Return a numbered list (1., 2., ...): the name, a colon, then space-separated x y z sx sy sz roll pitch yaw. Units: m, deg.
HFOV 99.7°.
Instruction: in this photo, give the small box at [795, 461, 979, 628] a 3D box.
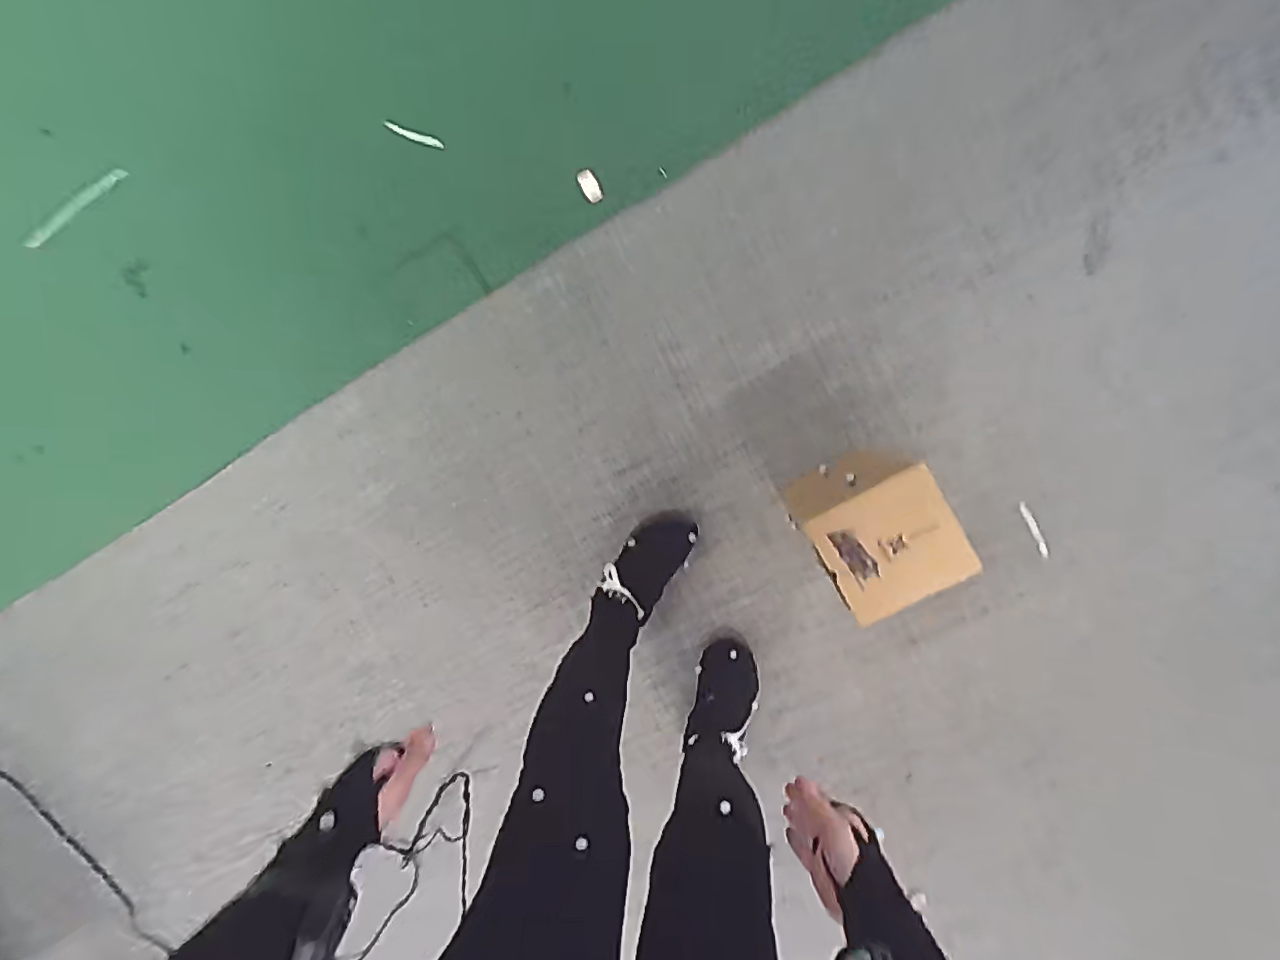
1. small box: 0.345 0.086 0.800 0.179 0.176 0.168 -30 92 10
